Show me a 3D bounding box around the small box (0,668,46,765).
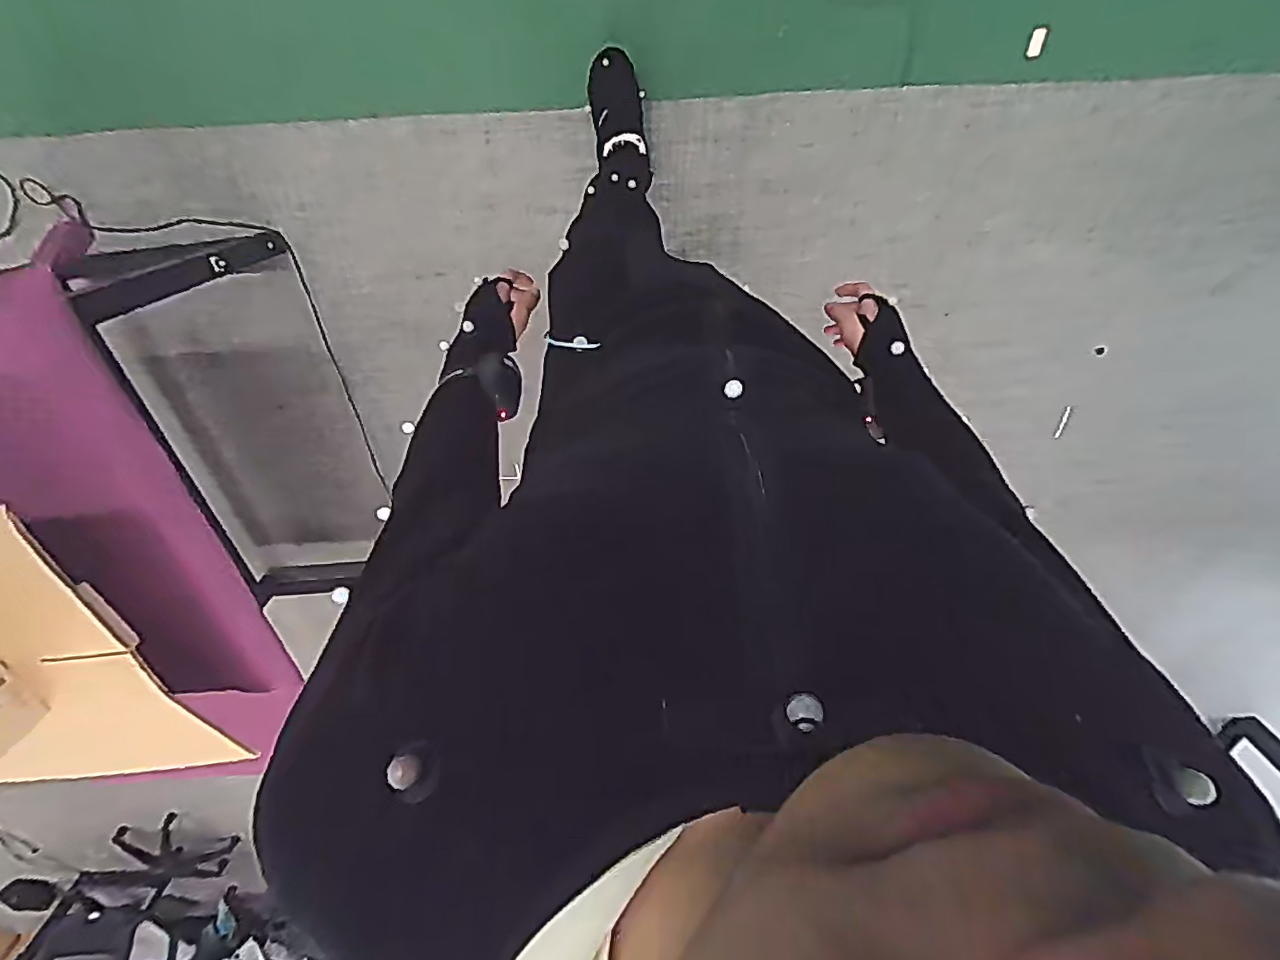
[{"bbox_3d":[-1.135,0.409,0.852,0.179,0.176,0.168,-5,121,2],"label":"small box"}]
